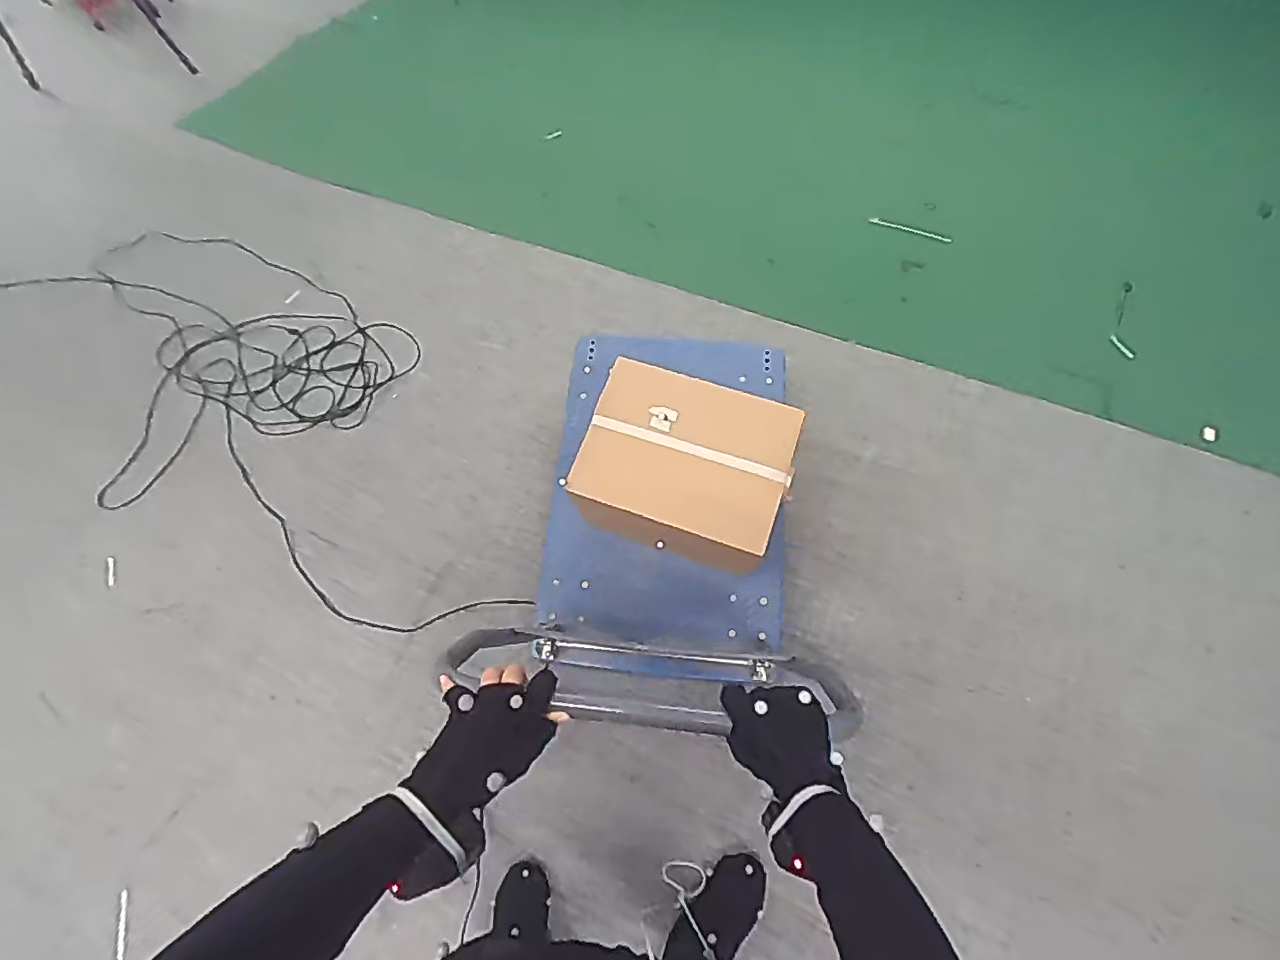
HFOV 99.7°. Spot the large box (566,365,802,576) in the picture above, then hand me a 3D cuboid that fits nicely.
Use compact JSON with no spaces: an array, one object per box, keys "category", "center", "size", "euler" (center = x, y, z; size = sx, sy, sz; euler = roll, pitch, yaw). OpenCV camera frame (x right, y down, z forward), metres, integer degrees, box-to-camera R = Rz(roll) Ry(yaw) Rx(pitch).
[{"category":"large box","center":[0.101,-0.005,1.208],"size":[0.408,0.320,0.320],"euler":[18,74,9]}]
